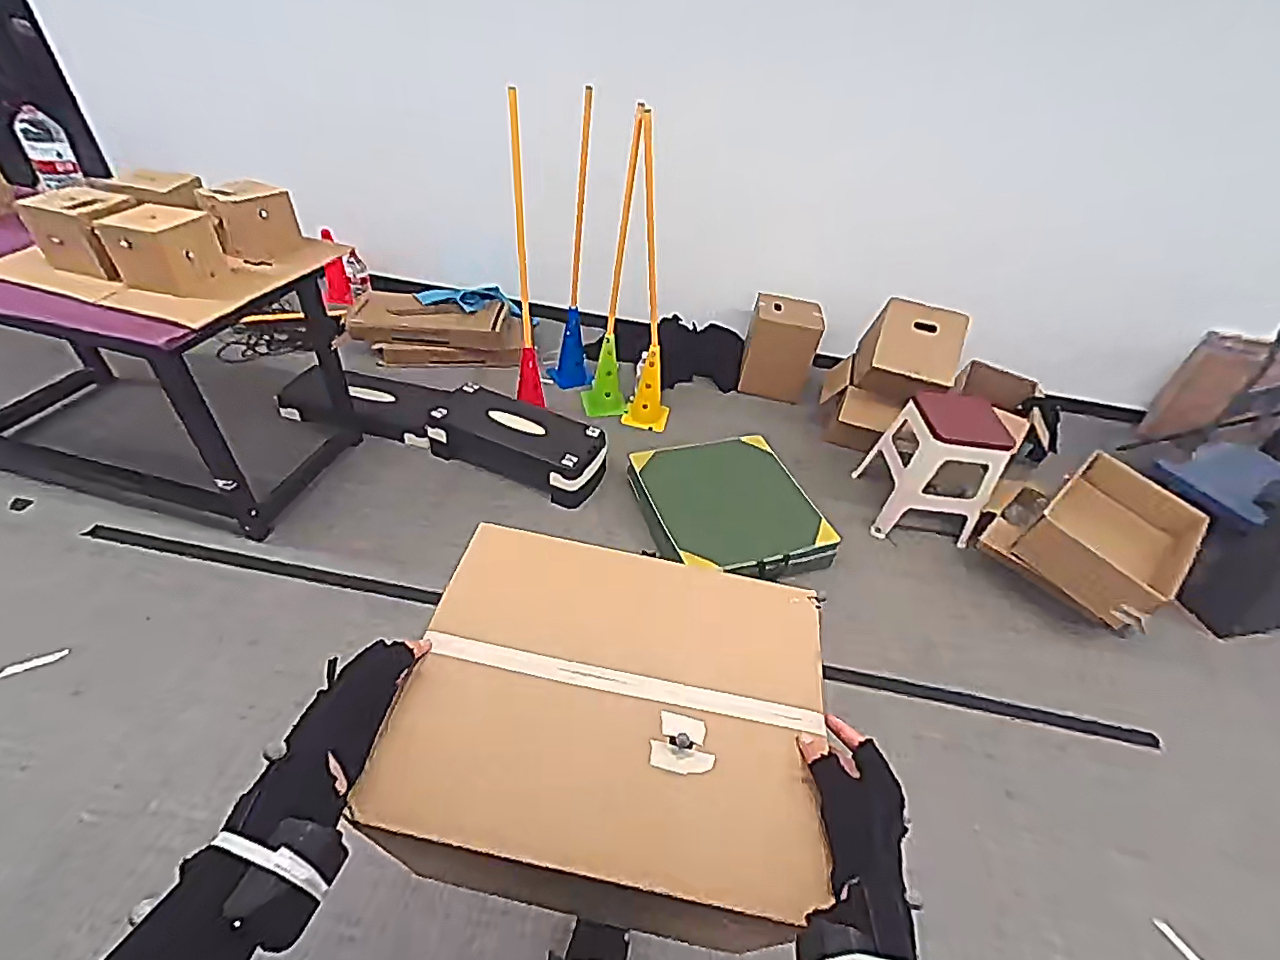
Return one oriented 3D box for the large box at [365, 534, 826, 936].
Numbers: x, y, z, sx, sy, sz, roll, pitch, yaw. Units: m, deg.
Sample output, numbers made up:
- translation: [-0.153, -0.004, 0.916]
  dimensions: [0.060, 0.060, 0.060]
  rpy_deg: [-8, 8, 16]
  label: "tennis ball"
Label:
- translation: [-0.035, 0.310, 0.659]
  dimensions: [0.408, 0.320, 0.320]
  rpy_deg: [12, 47, 2]
  label: "large box"
